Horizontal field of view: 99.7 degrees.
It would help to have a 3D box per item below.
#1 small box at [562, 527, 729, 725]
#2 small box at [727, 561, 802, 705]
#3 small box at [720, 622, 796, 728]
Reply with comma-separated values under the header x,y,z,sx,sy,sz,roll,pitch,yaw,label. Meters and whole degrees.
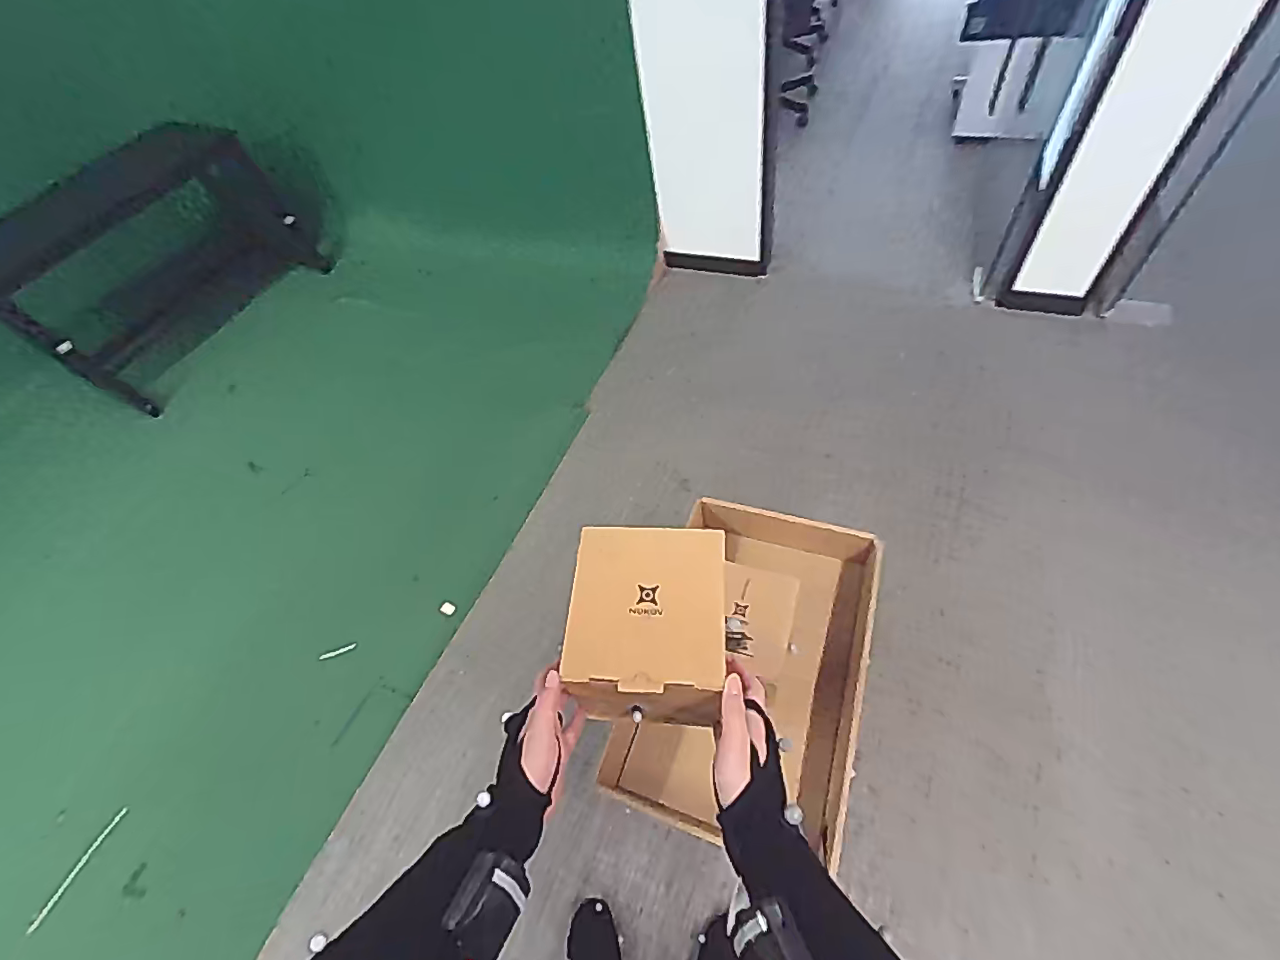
x,y,z,sx,sy,sz,roll,pitch,yaw,label
0.014,0.173,0.631,0.168,0.176,0.179,1,56,5,small box
0.169,0.257,0.909,0.168,0.176,0.179,11,57,18,small box
0.194,0.350,1.042,0.168,0.176,0.179,13,58,19,small box
